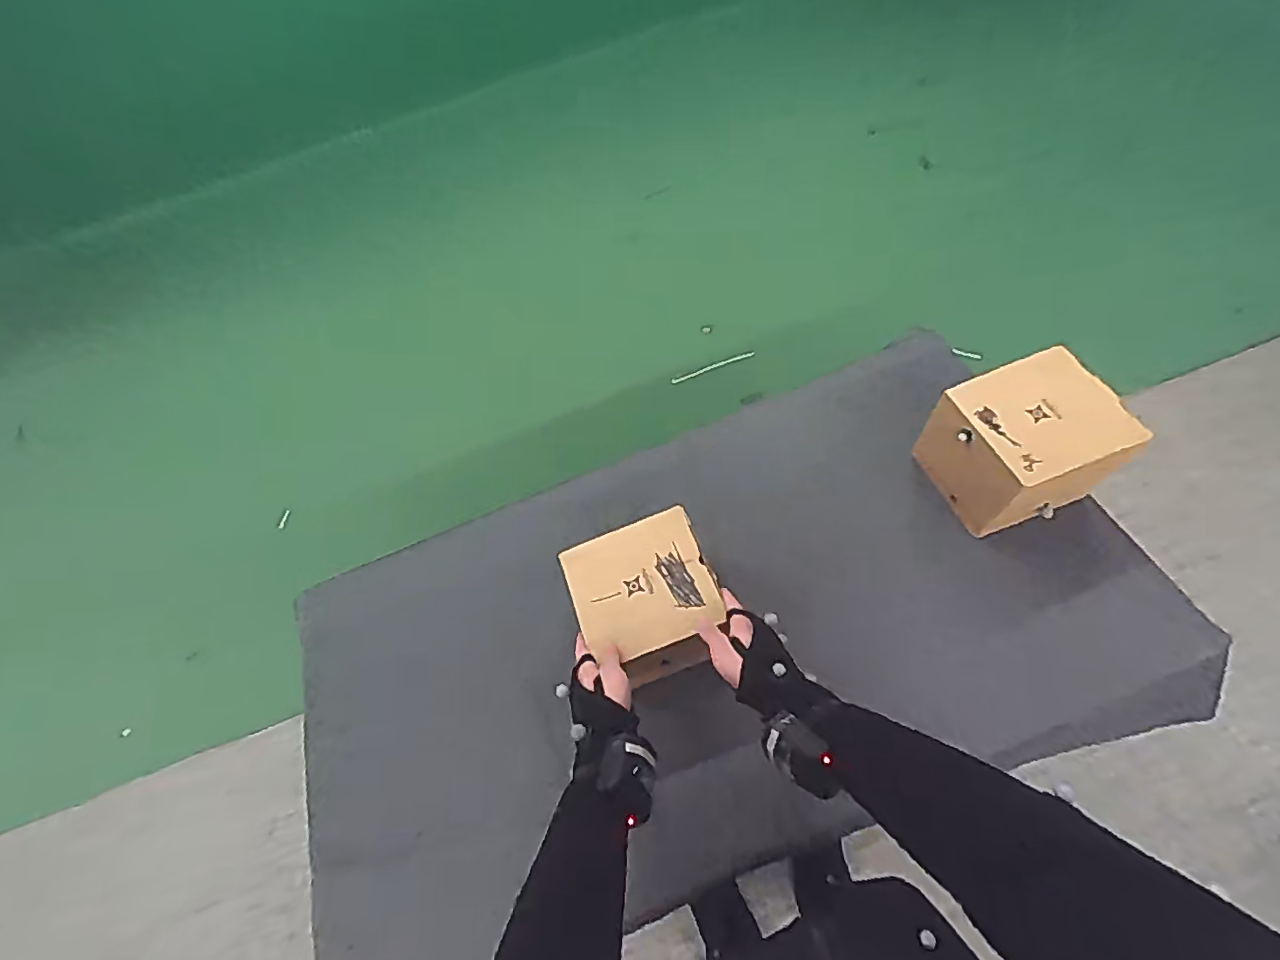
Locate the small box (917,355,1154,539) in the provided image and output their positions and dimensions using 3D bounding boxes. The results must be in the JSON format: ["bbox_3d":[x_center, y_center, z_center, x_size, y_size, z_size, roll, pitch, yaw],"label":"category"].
[{"bbox_3d":[0.535,-0.040,0.765,0.179,0.176,0.168,-19,60,-3],"label":"small box"}]

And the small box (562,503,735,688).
[{"bbox_3d":[0.014,0.161,0.726,0.179,0.176,0.168,-20,59,-2],"label":"small box"}]
